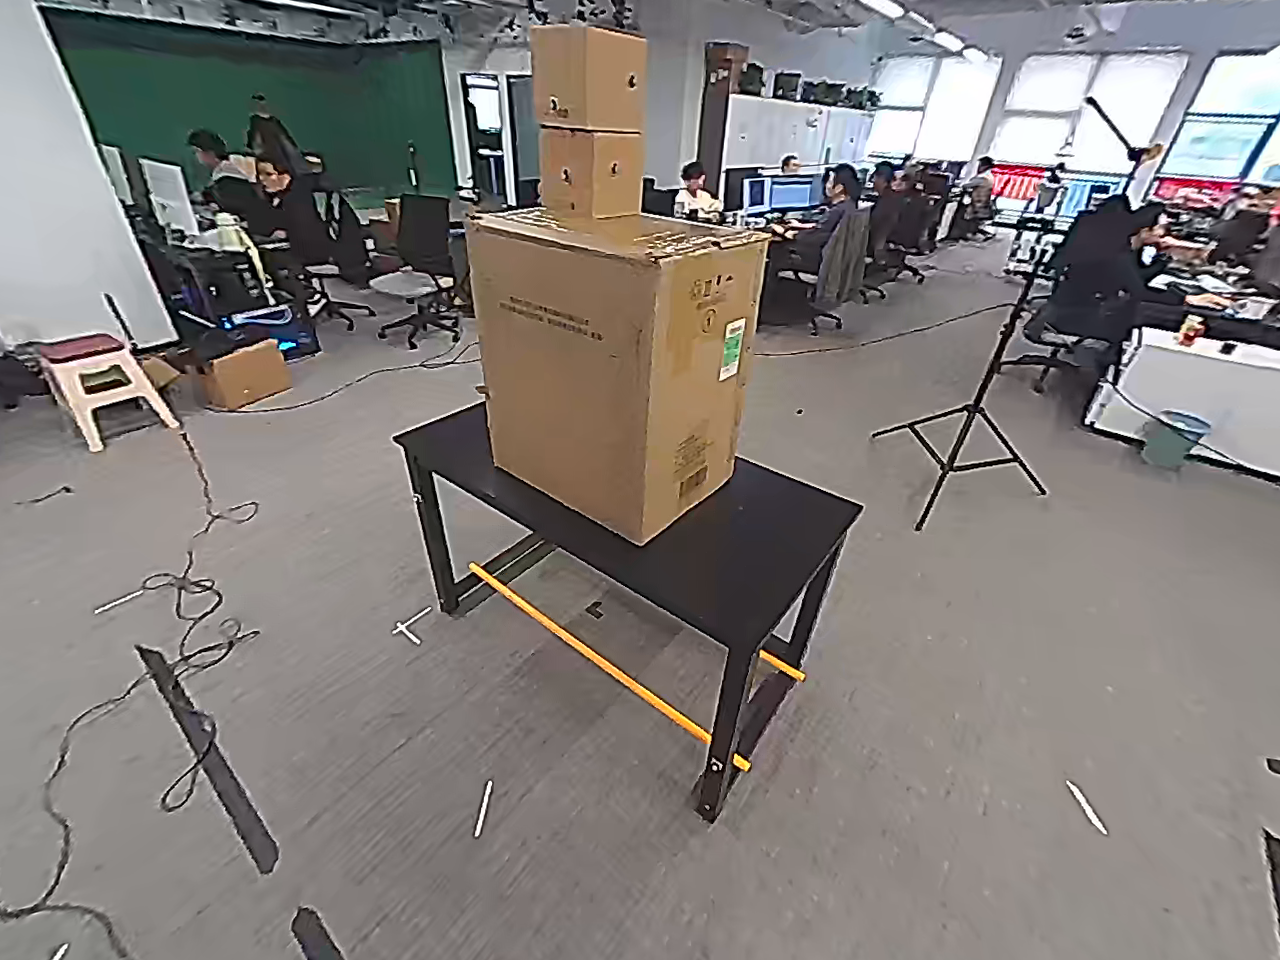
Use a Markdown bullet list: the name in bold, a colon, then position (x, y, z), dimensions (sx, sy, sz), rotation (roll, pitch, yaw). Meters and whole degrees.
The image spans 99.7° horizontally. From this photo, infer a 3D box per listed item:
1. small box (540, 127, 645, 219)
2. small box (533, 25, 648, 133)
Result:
- **small box**: position (-0.106, -0.702, 1.236), dimensions (0.168, 0.176, 0.179), rotation (26, 40, 29)
- **small box**: position (-0.104, -0.831, 1.134), dimensions (0.168, 0.176, 0.179), rotation (26, 40, 31)
